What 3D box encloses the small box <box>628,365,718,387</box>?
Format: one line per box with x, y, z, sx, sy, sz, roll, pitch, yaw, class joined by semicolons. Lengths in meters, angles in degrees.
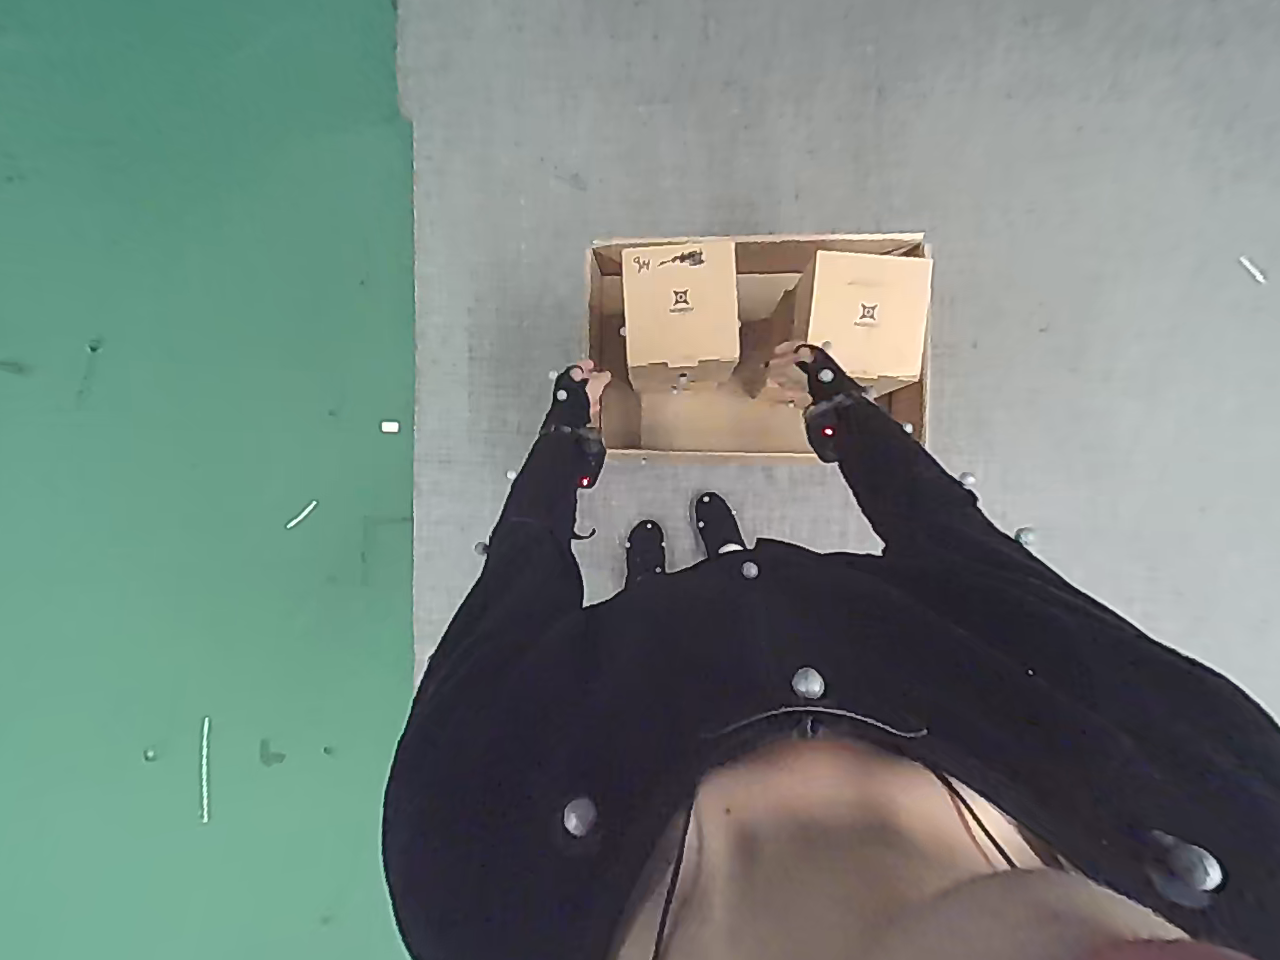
0.063;-0.279;1.016;0.168;0.176;0.179;-2;91;4;small box

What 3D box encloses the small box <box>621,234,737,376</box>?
0.062;-0.262;0.852;0.168;0.176;0.179;-2;91;3;small box

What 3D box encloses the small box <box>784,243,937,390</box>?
0.328;-0.241;0.838;0.168;0.176;0.179;7;91;3;small box
